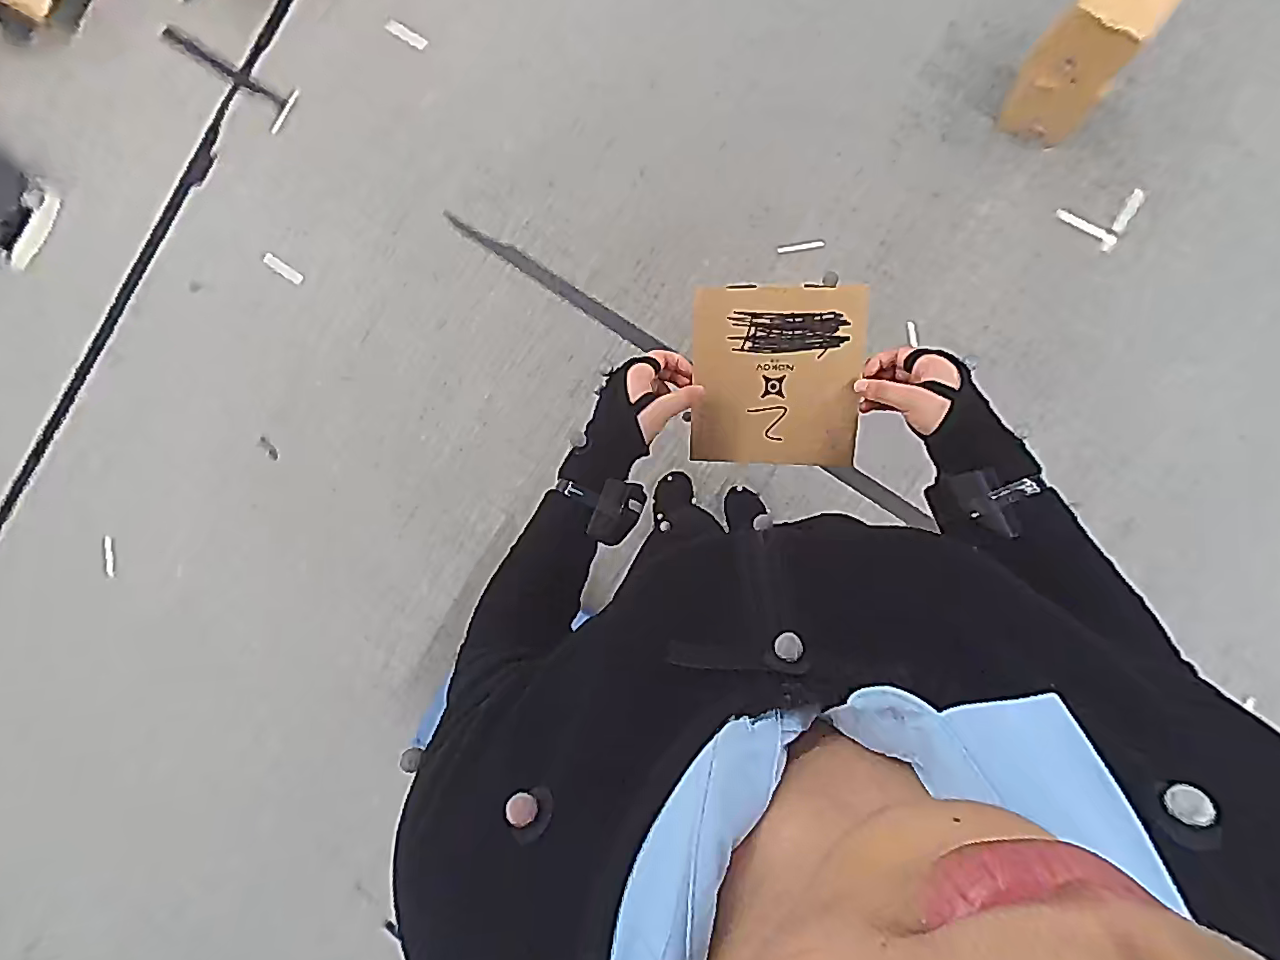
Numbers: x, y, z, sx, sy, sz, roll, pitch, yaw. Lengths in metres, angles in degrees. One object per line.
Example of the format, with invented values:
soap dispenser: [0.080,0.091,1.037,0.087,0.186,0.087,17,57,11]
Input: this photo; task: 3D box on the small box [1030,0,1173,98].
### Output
small box: [1.001,-0.992,1.169,0.168,0.176,0.179,34,93,6]

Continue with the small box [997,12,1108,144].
small box: [1.023,-0.980,1.330,0.168,0.176,0.179,21,92,8]
